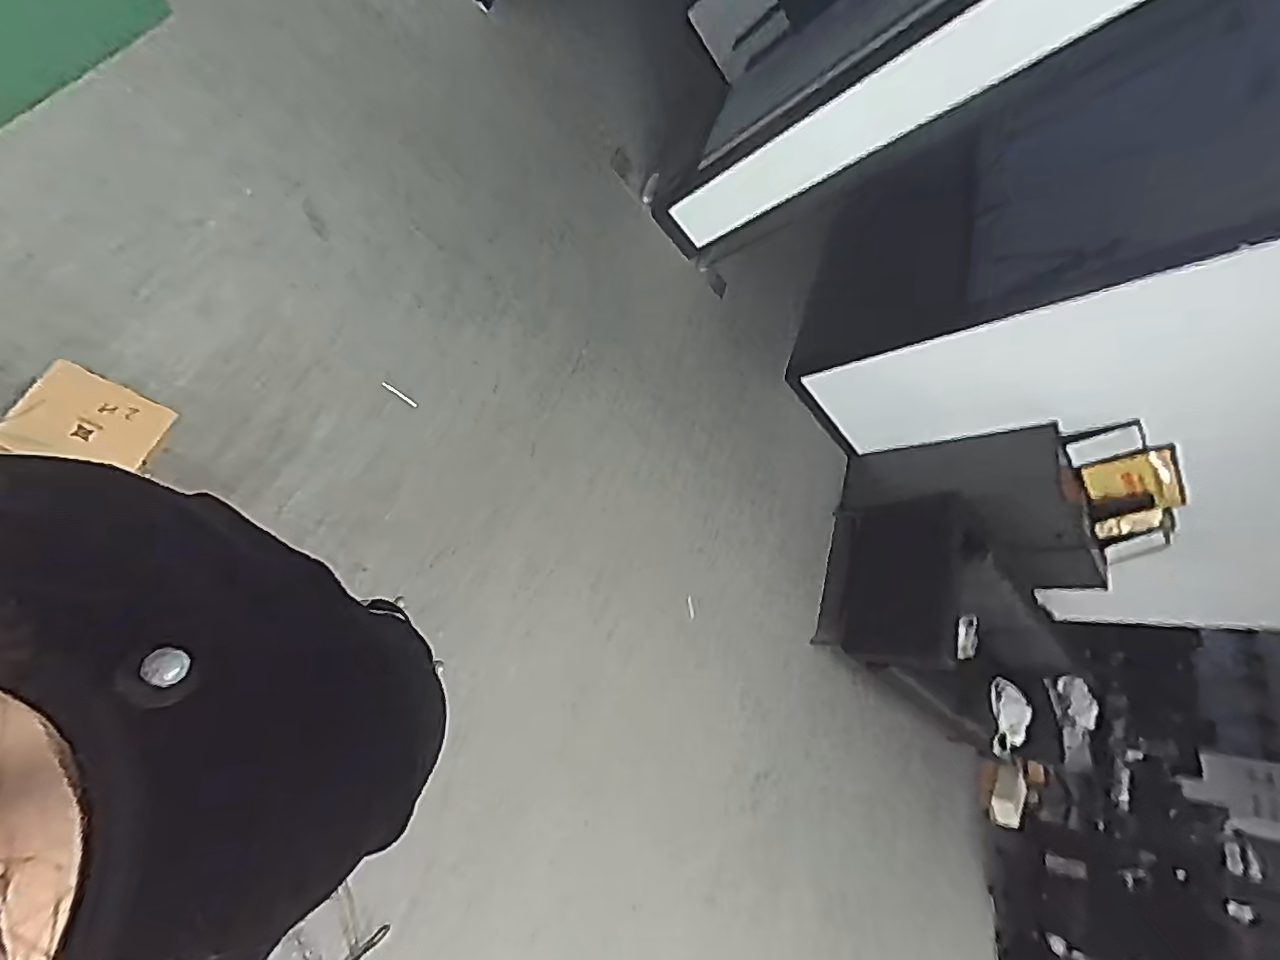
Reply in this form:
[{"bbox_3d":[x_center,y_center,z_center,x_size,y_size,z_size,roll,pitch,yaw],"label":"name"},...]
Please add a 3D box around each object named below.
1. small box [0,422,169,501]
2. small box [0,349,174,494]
[{"bbox_3d":[-1.064,-0.072,1.047,0.168,0.176,0.179,39,58,-34],"label":"small box"},{"bbox_3d":[-0.952,-0.088,0.928,0.168,0.176,0.179,38,59,-35],"label":"small box"}]
